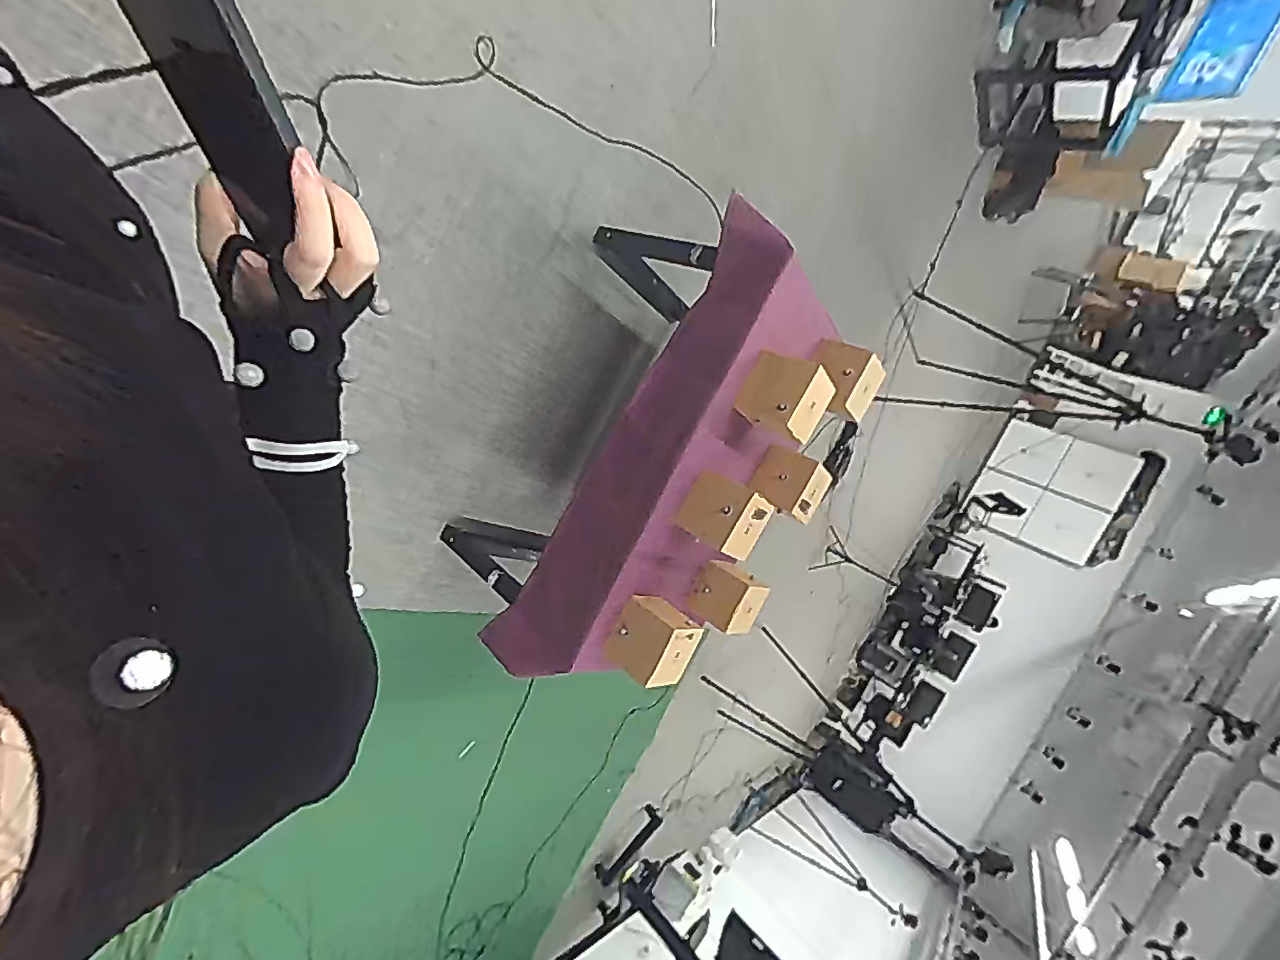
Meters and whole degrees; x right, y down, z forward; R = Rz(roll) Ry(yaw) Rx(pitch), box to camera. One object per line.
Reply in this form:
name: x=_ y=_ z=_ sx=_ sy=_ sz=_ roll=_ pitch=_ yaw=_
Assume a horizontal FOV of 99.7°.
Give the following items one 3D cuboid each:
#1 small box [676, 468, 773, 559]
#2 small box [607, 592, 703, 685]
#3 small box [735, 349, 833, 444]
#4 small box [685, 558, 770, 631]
small box: x=0.228 y=0.090 z=1.473 sx=0.168 sy=0.176 sz=0.179 roll=29 pitch=91 yaw=-54
small box: x=0.036 y=0.429 z=1.475 sx=0.168 sy=0.176 sz=0.179 roll=22 pitch=97 yaw=-54
small box: x=0.383 y=-0.226 z=1.443 sx=0.168 sy=0.176 sz=0.179 roll=26 pitch=94 yaw=-54
small box: x=0.276 y=0.360 z=1.714 sx=0.179 sy=0.176 sz=0.168 roll=20 pitch=98 yaw=-53
